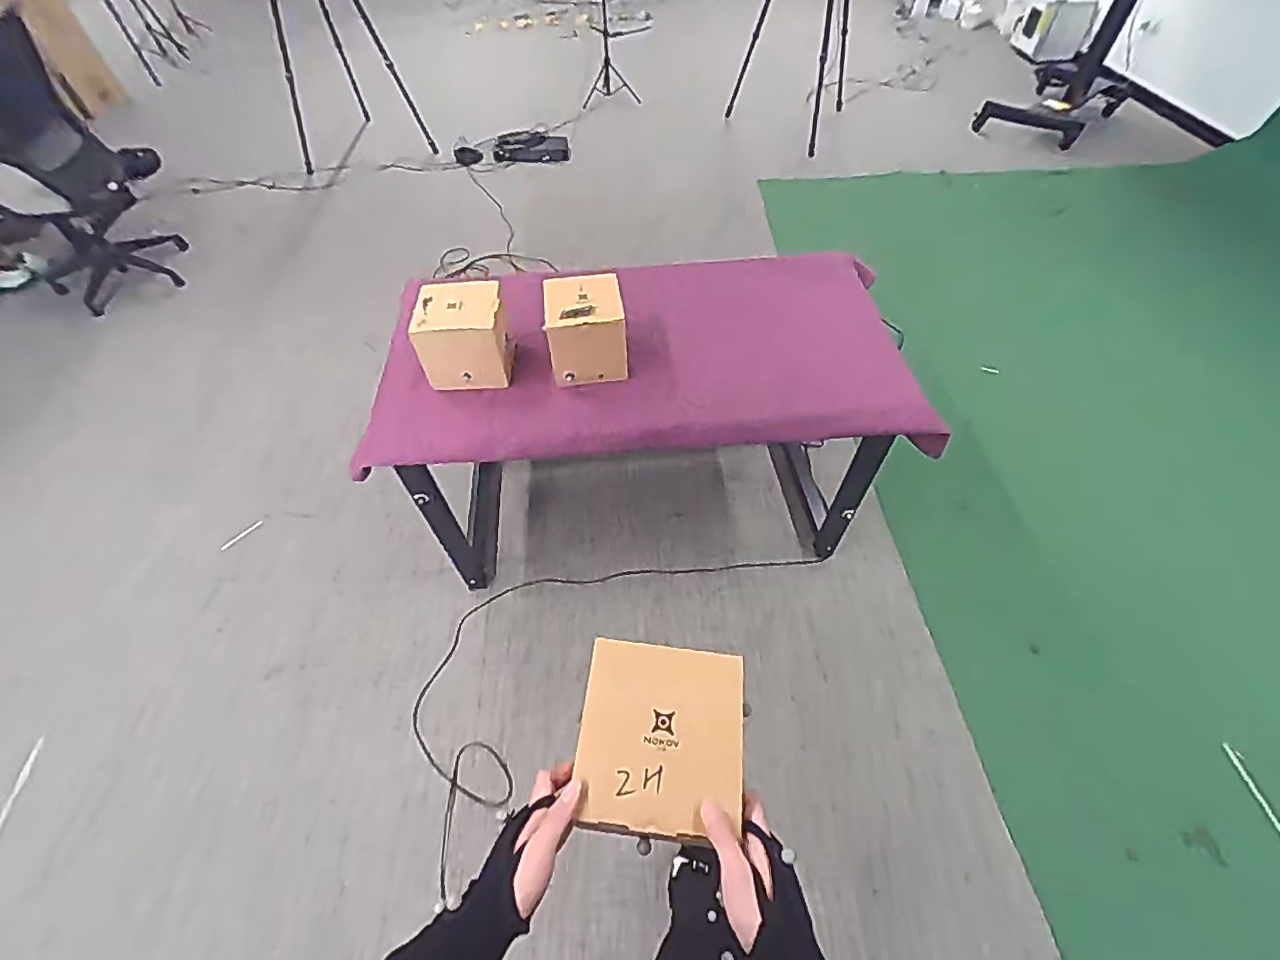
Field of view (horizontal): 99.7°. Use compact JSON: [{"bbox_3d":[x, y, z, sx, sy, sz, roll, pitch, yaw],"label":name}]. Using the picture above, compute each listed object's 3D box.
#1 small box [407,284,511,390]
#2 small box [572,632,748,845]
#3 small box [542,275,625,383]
[{"bbox_3d":[-0.391,-0.315,1.204,0.179,0.176,0.168,-2,53,-3],"label":"small box"},{"bbox_3d":[0.022,0.294,0.609,0.168,0.176,0.179,7,55,2],"label":"small box"},{"bbox_3d":[-0.125,-0.332,1.216,0.168,0.176,0.179,-7,53,-5],"label":"small box"}]
